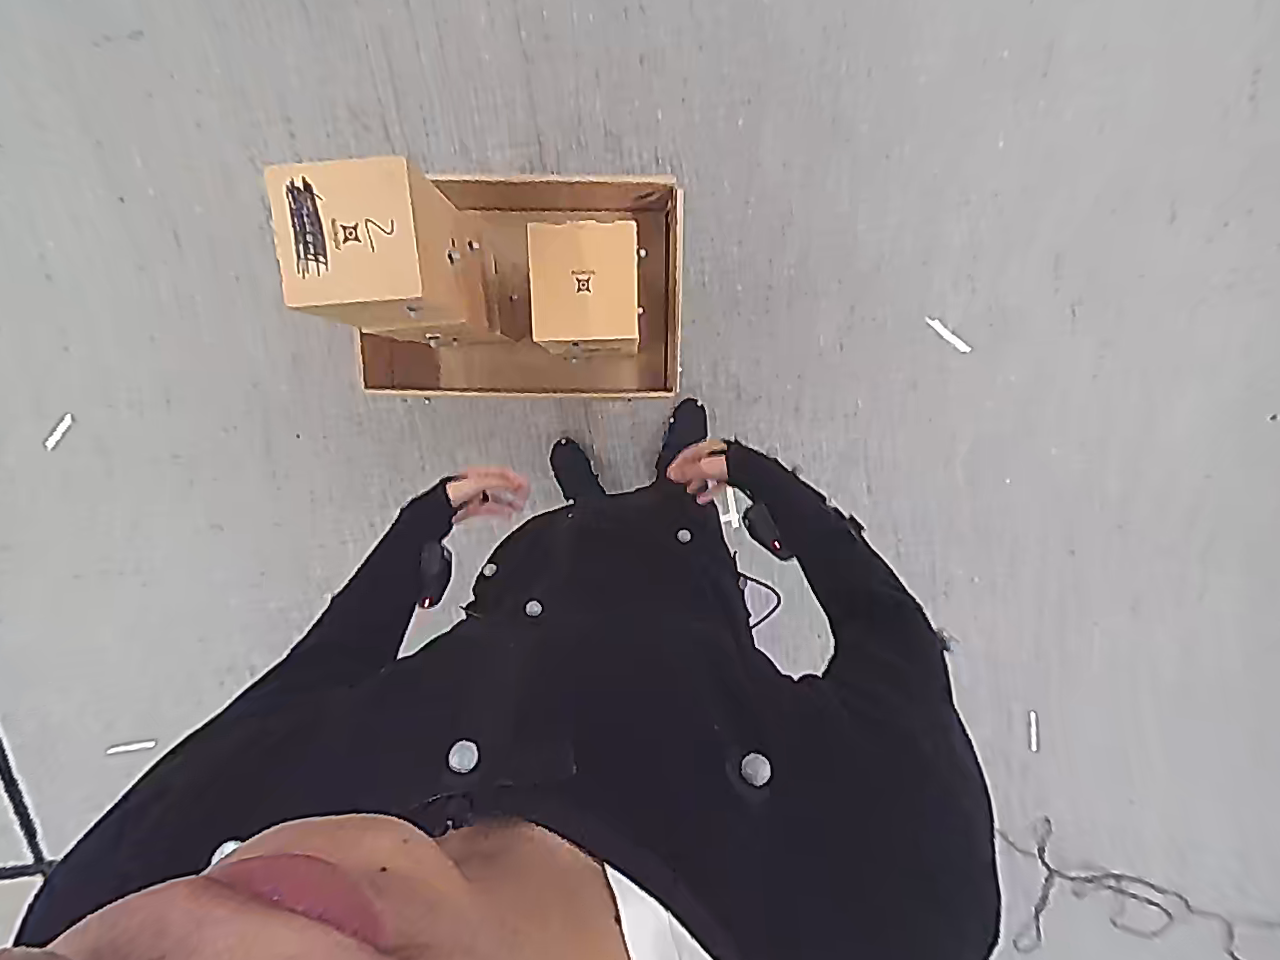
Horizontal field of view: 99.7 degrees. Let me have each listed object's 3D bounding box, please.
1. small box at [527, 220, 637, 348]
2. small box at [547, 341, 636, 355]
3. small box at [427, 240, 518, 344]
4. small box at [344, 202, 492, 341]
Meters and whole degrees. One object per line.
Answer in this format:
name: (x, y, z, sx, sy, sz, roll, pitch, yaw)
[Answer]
small box: (-0.089, -0.316, 0.904, 0.168, 0.176, 0.179, -2, 98, -1)
small box: (-0.092, -0.339, 1.065, 0.168, 0.176, 0.179, -2, 98, -1)
small box: (-0.348, -0.359, 1.057, 0.179, 0.176, 0.168, -3, 99, -1)
small box: (-0.355, -0.334, 0.895, 0.168, 0.176, 0.179, -5, 99, 2)
